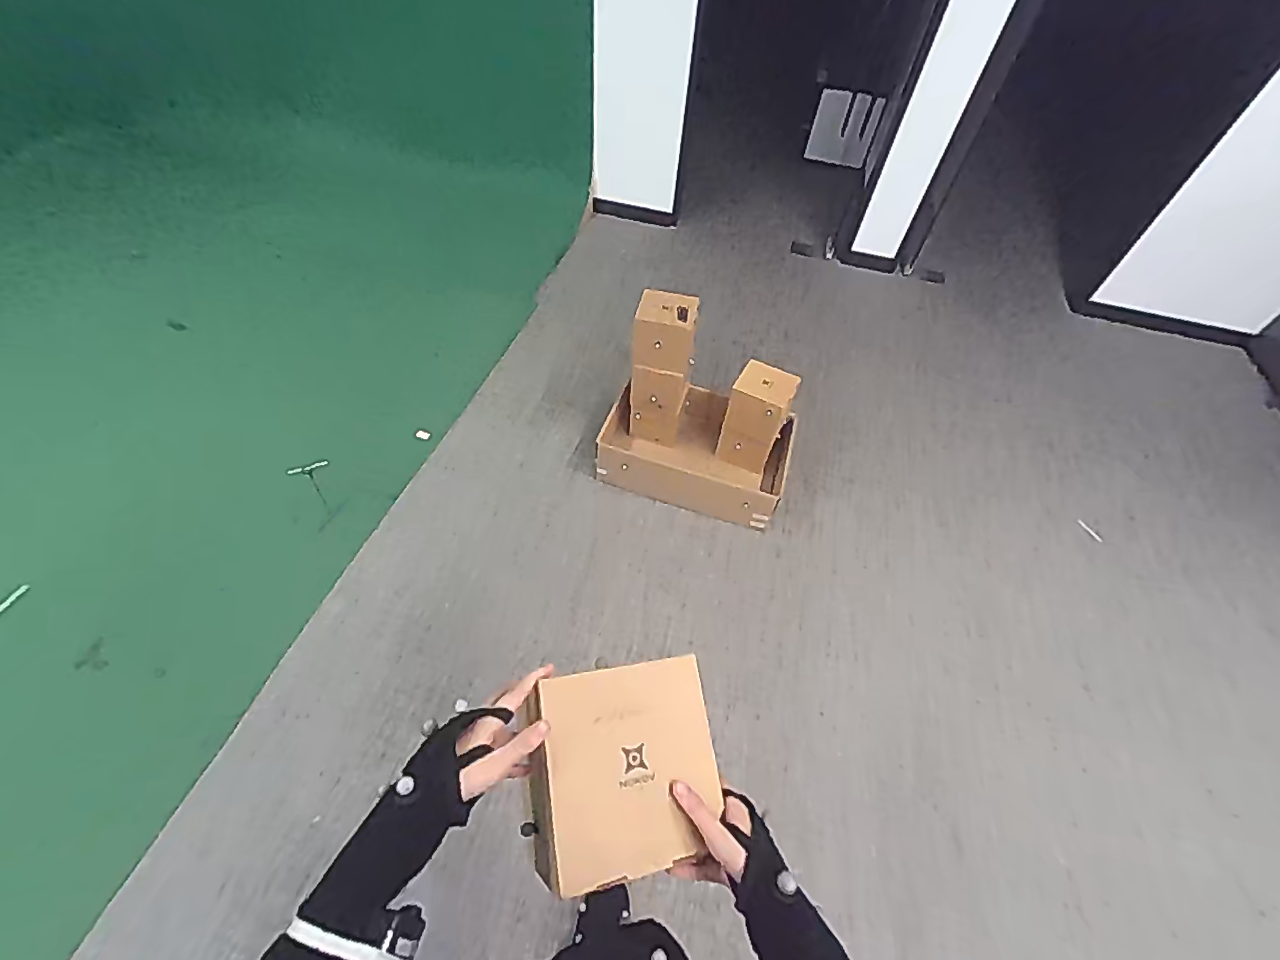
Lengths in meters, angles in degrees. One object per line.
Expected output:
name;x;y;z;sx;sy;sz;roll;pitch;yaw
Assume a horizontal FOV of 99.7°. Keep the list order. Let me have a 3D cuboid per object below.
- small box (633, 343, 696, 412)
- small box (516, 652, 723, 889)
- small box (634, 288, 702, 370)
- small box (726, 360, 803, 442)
small box;0.077;-0.355;1.791;0.168;0.176;0.179;14;53;7
small box;-0.035;0.287;0.573;0.168;0.176;0.179;-1;68;-21
small box;0.084;-0.460;1.664;0.179;0.176;0.168;11;52;6
small box;0.395;-0.252;1.743;0.179;0.176;0.168;26;56;14
